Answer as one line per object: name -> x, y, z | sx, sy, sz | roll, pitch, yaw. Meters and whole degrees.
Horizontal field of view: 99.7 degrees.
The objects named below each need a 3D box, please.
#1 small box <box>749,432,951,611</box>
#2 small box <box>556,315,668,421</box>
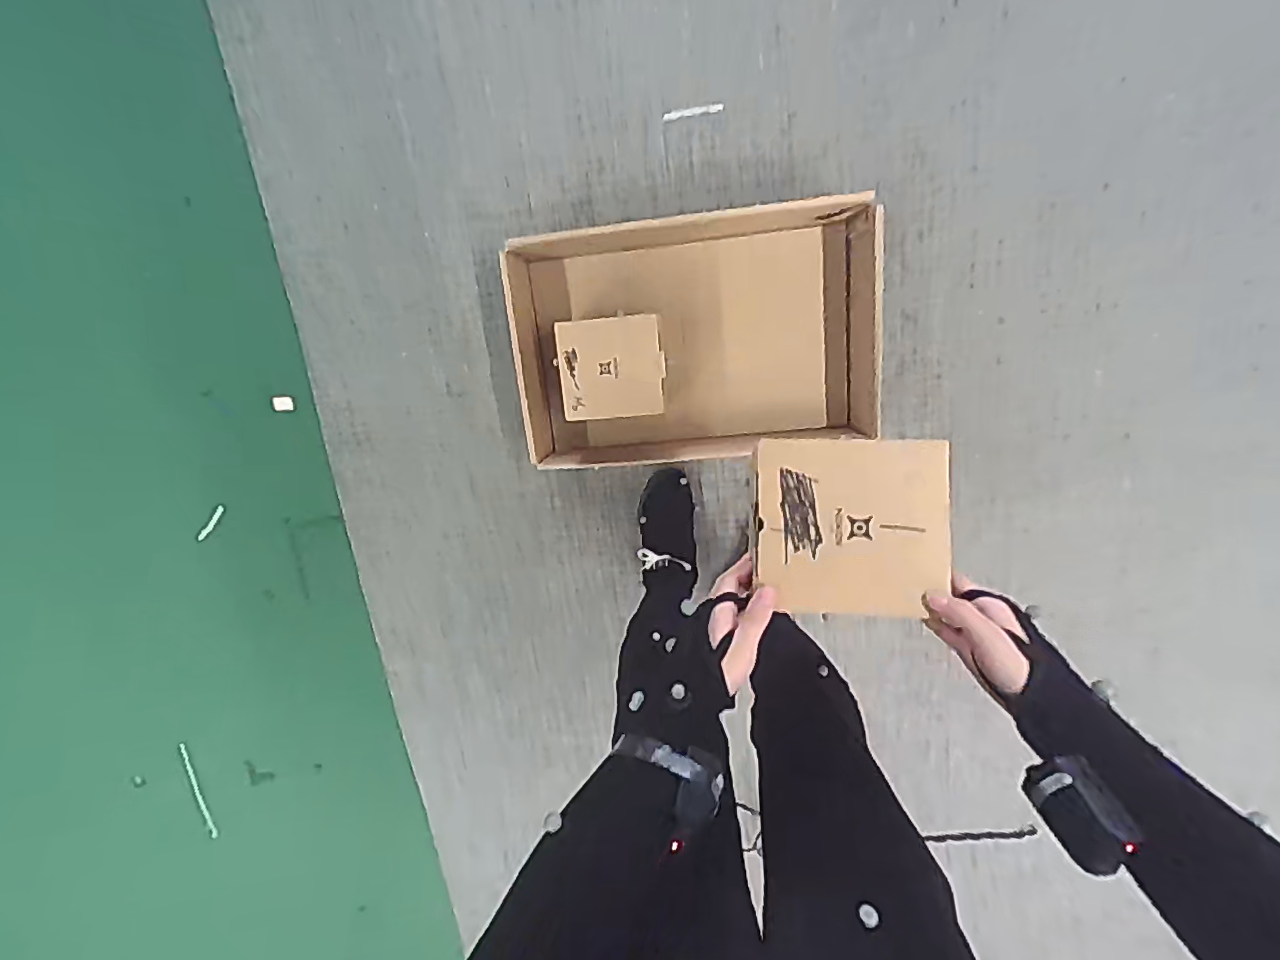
small box -> 0.209, 0.043, 0.583 | 0.179, 0.176, 0.168 | 0, 85, 9
small box -> -0.042, -0.203, 0.974 | 0.179, 0.176, 0.168 | -4, 103, 5
